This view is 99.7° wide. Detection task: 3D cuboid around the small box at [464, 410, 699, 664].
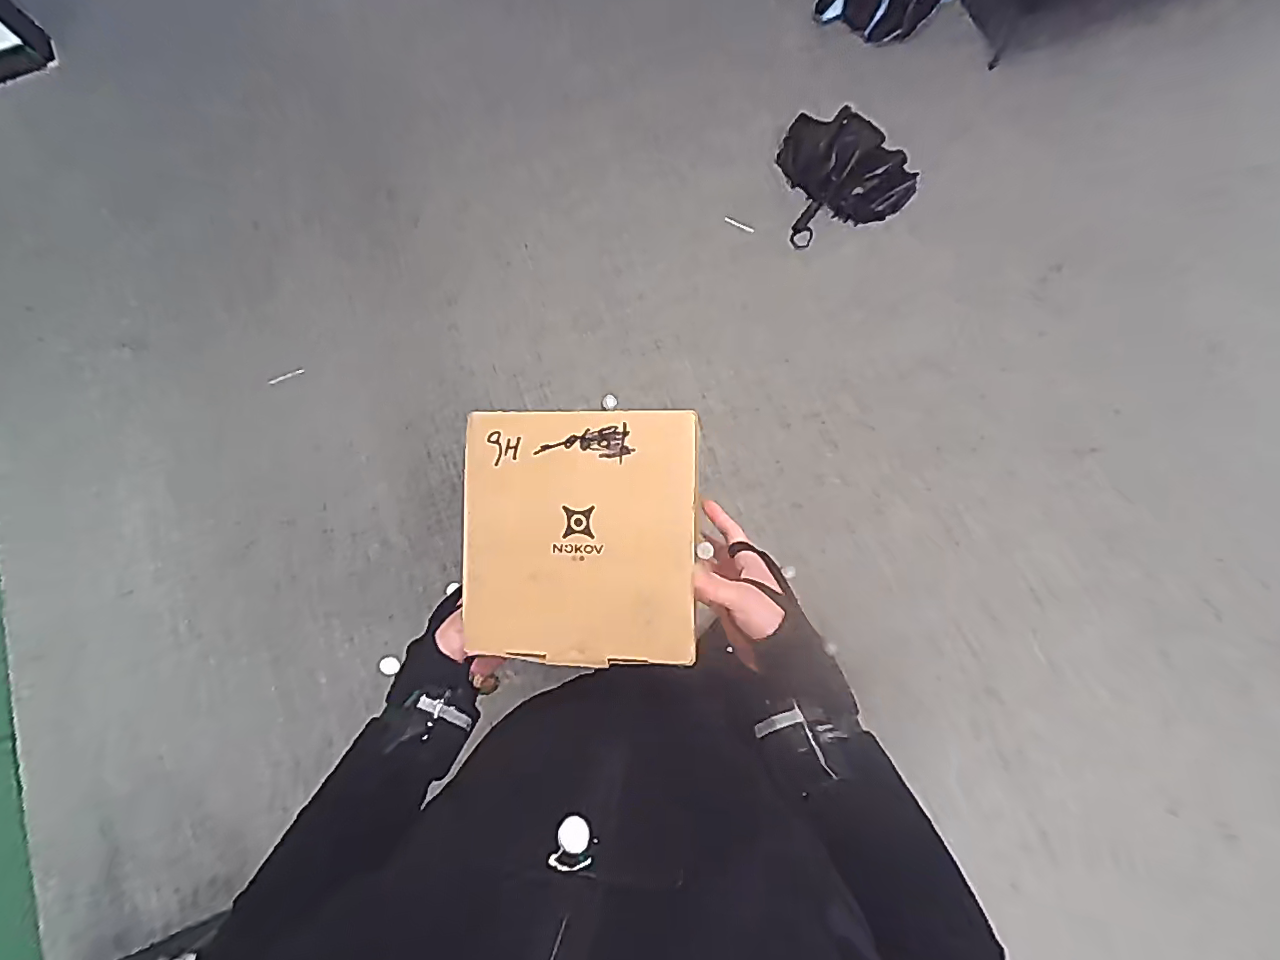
[{"bbox_3d":[-0.035,0.038,0.454,0.168,0.176,0.179,0,90,5],"label":"small box"}]
